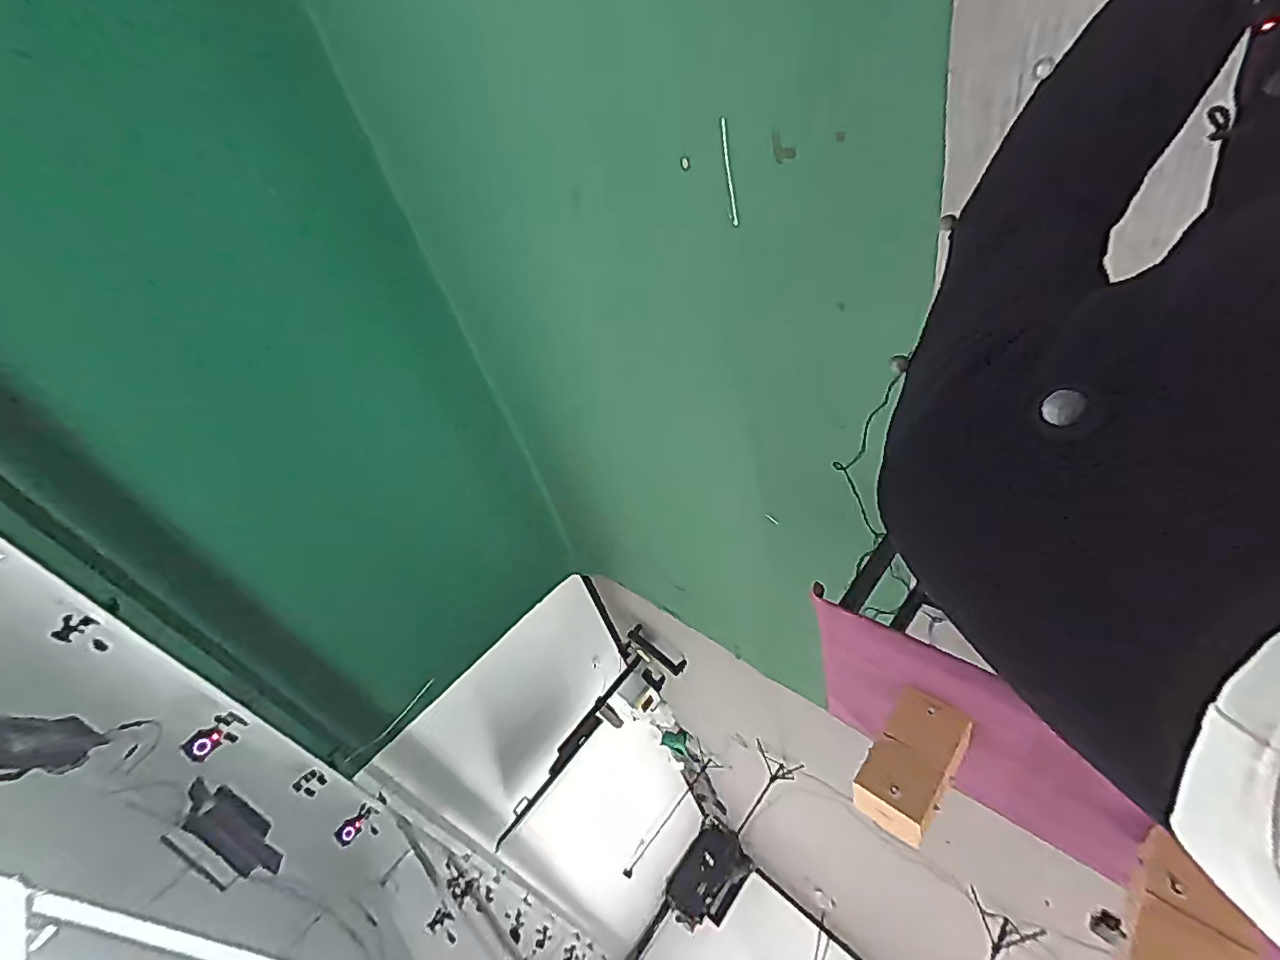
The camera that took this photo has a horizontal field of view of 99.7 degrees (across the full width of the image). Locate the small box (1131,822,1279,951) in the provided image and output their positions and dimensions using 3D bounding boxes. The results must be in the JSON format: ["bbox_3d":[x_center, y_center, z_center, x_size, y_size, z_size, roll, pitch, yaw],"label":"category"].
[{"bbox_3d":[1.218,0.880,1.168,0.179,0.176,0.168,23,145,41],"label":"small box"}]

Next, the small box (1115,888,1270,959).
[{"bbox_3d":[1.109,0.974,1.094,0.179,0.176,0.168,22,143,41],"label":"small box"}]

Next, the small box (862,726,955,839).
[{"bbox_3d":[0.716,0.801,1.446,0.179,0.176,0.168,22,143,41],"label":"small box"}]

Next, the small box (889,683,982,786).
[{"bbox_3d":[0.825,0.702,1.517,0.179,0.176,0.168,21,144,42],"label":"small box"}]
